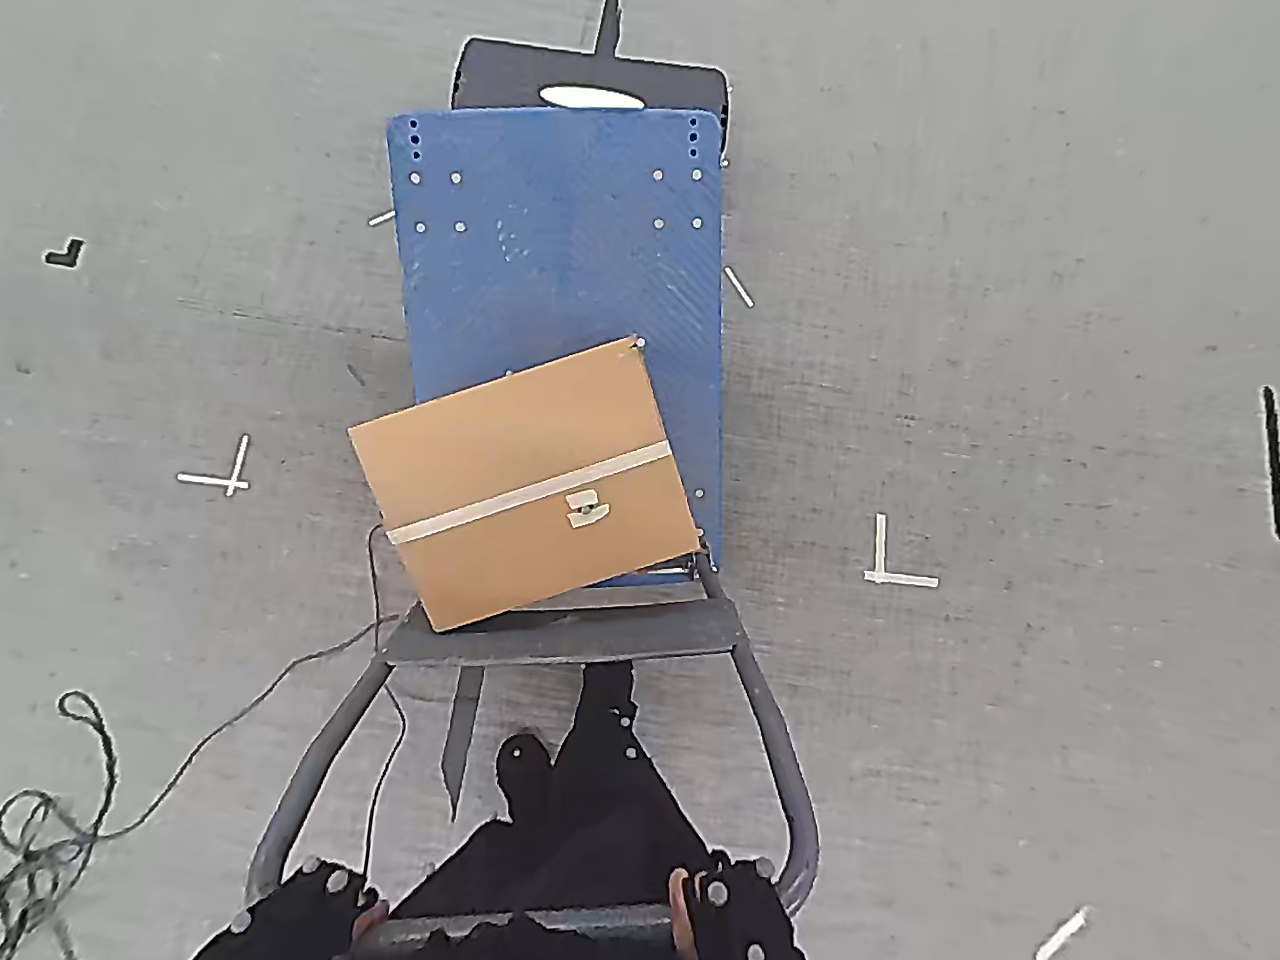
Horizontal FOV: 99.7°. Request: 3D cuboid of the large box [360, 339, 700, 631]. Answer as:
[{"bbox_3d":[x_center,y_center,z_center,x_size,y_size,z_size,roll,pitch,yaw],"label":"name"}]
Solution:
[{"bbox_3d":[-0.156,-0.010,0.898,0.408,0.320,0.320,-18,101,-1],"label":"large box"}]
